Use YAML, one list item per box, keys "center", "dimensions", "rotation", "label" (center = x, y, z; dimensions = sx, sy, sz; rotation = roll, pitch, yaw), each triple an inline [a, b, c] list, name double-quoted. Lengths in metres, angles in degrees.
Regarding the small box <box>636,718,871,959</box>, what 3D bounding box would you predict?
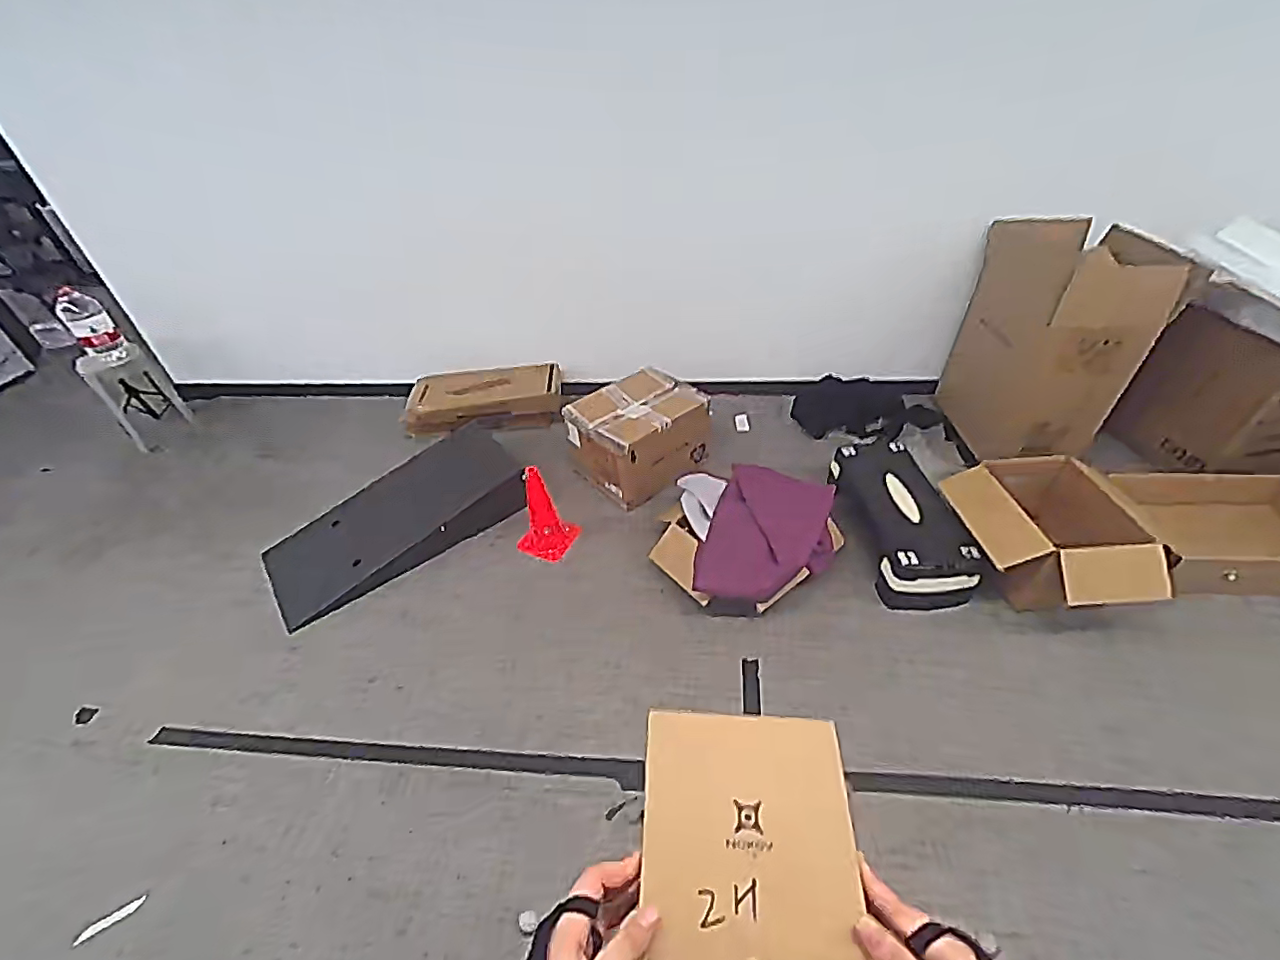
- center: [0.085, 0.336, 0.483]
  dimensions: [0.168, 0.176, 0.179]
  rotation: [2, 48, 3]
  label: "small box"
